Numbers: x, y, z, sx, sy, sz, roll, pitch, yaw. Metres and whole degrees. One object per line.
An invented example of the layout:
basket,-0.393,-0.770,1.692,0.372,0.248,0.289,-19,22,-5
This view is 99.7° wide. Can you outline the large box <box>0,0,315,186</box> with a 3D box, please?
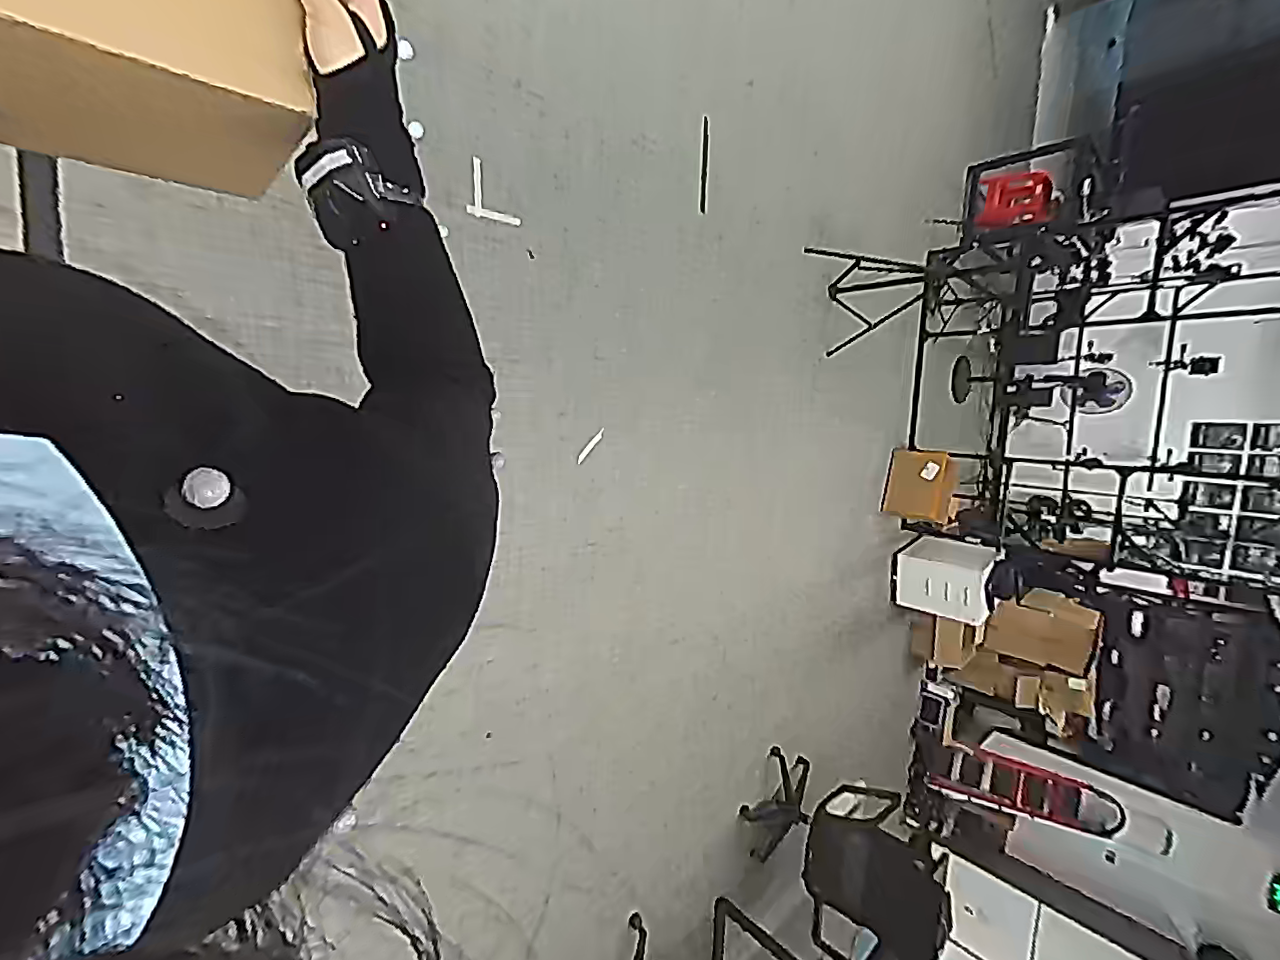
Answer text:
large box,-0.485,-0.442,0.366,0.408,0.320,0.320,-5,103,-41
